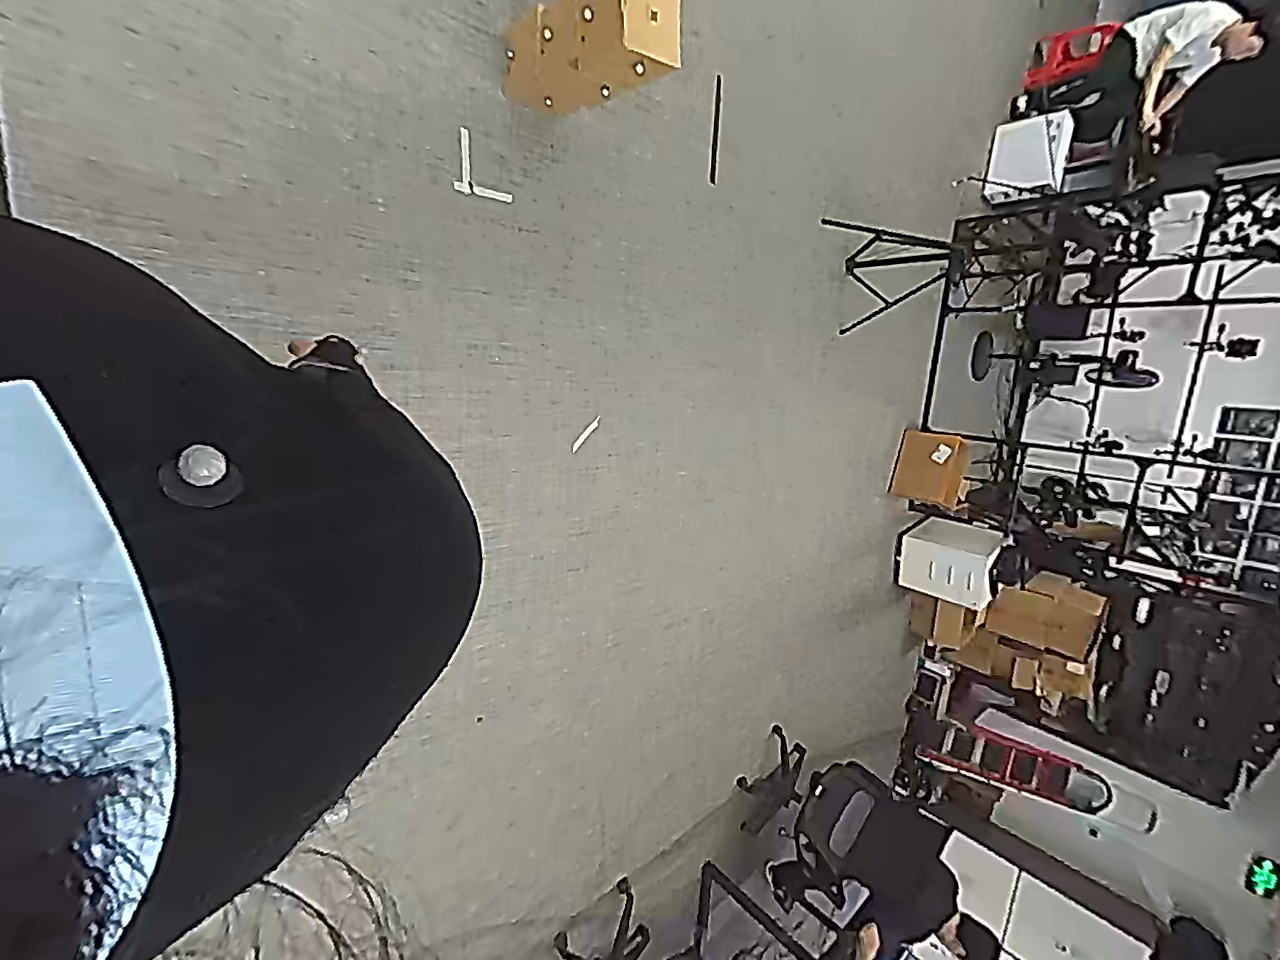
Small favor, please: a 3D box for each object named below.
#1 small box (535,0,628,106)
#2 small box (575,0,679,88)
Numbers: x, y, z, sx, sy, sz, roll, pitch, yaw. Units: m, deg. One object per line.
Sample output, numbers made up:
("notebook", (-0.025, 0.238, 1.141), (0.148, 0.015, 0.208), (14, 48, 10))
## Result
("small box", (-0.139, -1.079, 1.358), (0.179, 0.176, 0.168), (-1, 101, -42))
("small box", (-0.030, -1.035, 1.245), (0.179, 0.176, 0.168), (-16, 111, -39))
